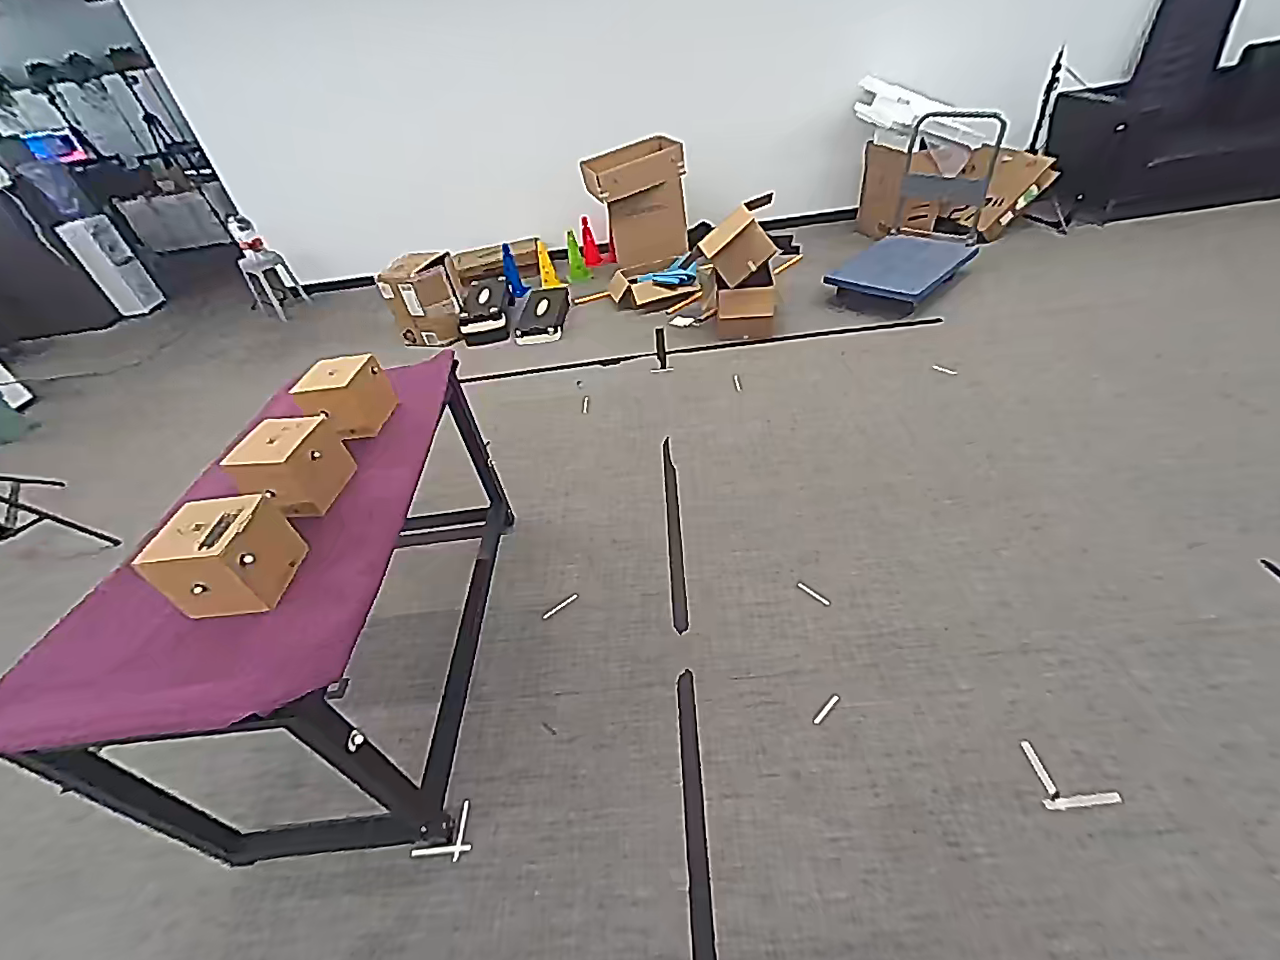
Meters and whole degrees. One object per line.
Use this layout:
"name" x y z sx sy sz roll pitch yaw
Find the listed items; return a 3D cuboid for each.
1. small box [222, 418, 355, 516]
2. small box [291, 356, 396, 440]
"small box" -0.819 -0.027 1.283 0.168 0.176 0.179 -1 41 9
"small box" -0.814 -0.222 1.511 0.168 0.176 0.179 -6 40 7
